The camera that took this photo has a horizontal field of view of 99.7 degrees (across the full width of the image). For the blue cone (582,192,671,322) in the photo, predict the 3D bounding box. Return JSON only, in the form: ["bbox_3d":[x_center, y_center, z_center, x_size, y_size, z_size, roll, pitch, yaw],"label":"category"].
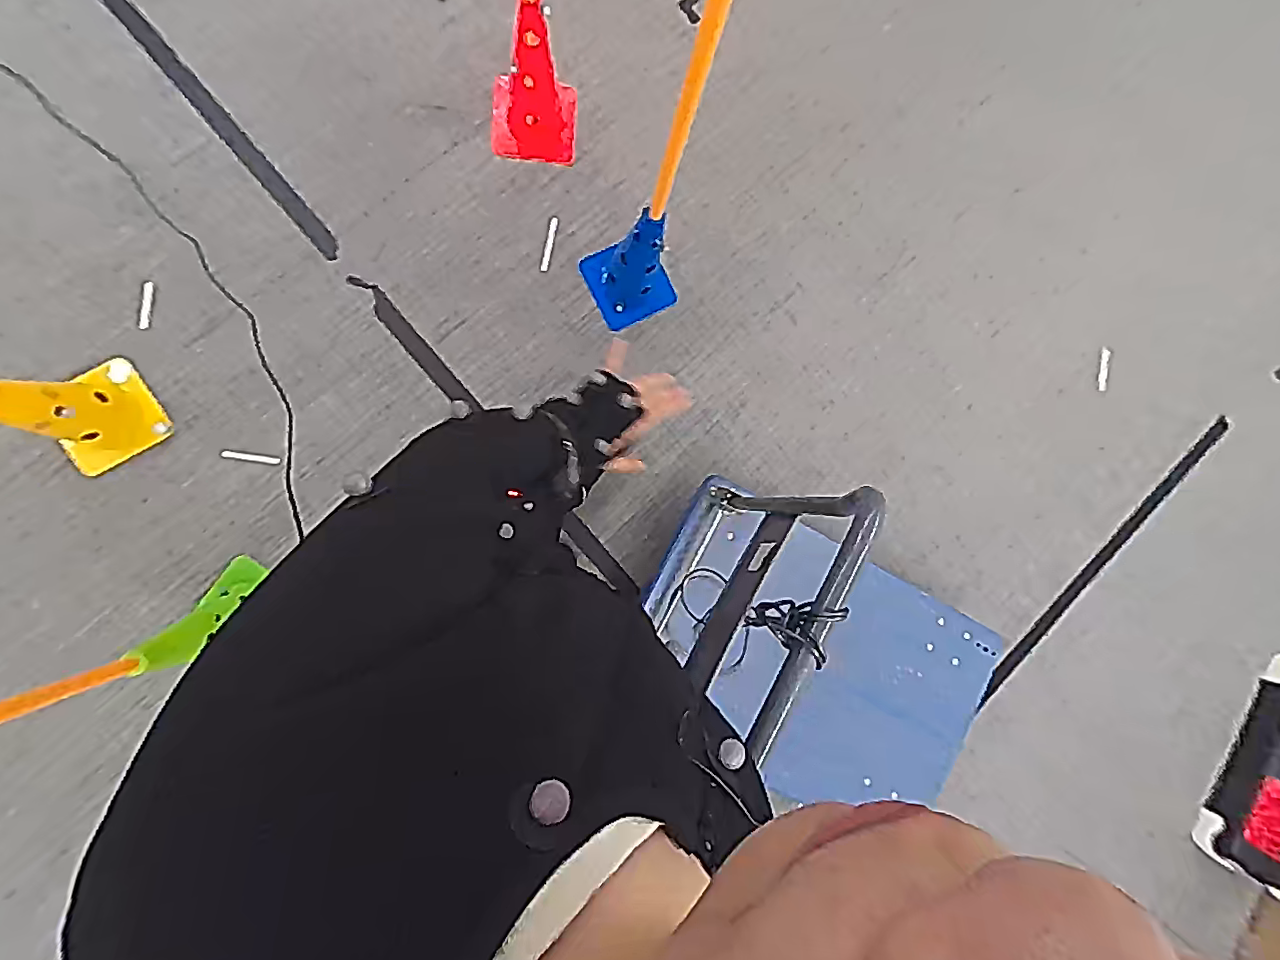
[{"bbox_3d":[-0.006,-0.514,1.204,0.193,0.380,0.192,-26,93,-9],"label":"blue cone"}]

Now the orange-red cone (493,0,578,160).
[{"bbox_3d":[-0.229,-0.895,1.159,0.198,0.360,0.199,4,90,-9],"label":"orange-red cone"}]

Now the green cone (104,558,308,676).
[{"bbox_3d":[-0.849,0.296,1.032,0.202,0.368,0.200,35,83,-6],"label":"green cone"}]
